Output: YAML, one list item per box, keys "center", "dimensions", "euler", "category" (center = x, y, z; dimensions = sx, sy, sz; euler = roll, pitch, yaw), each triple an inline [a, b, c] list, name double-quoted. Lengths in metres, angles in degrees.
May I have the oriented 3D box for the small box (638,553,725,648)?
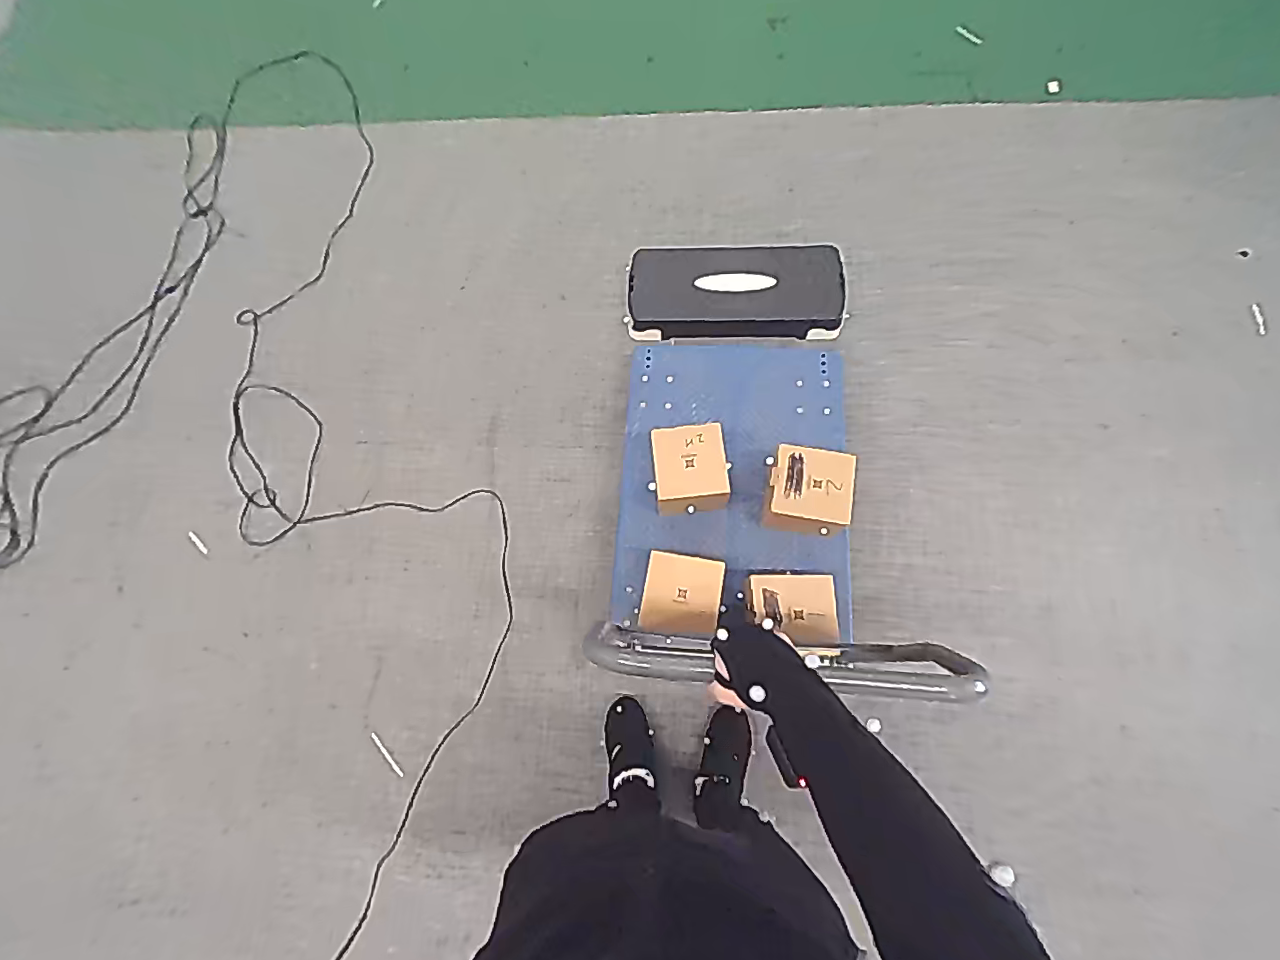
- center: [0.092, 0.277, 1.229]
  dimensions: [0.168, 0.176, 0.179]
  euler: [9, 75, 6]
  category: "small box"

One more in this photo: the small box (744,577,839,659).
- center: [0.326, 0.310, 1.202]
  dimensions: [0.179, 0.176, 0.168]
  euler: [0, 73, 4]
  category: "small box"

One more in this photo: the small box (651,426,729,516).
- center: [0.119, -0.014, 1.317]
  dimensions: [0.168, 0.176, 0.179]
  euler: [-5, 73, 1]
  category: "small box"
